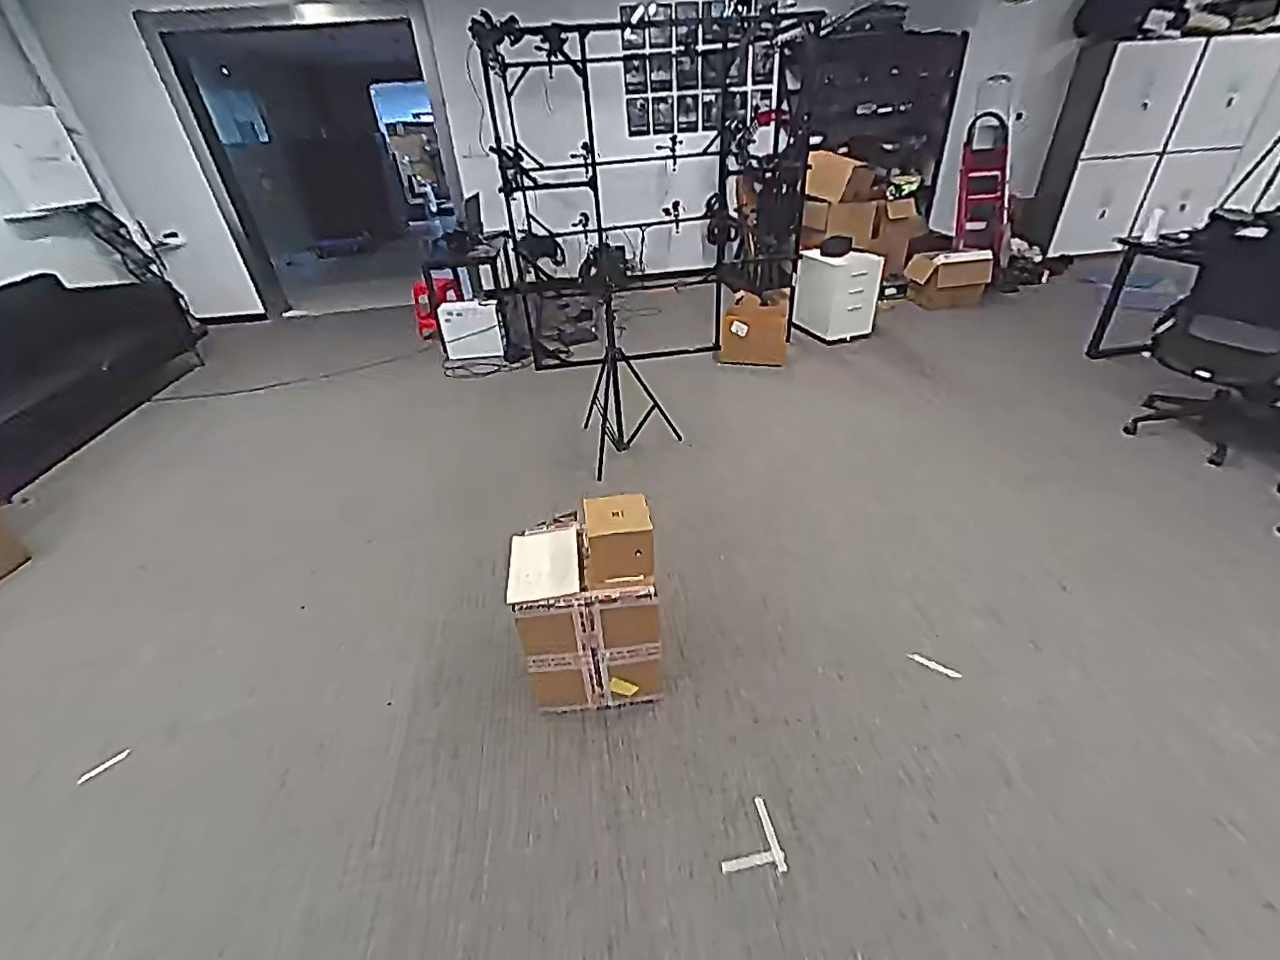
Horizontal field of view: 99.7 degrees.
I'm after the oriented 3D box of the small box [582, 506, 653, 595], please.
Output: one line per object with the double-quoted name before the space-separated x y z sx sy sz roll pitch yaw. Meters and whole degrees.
"small box" -0.062 0.195 1.495 0.179 0.176 0.168 -7 35 -7
